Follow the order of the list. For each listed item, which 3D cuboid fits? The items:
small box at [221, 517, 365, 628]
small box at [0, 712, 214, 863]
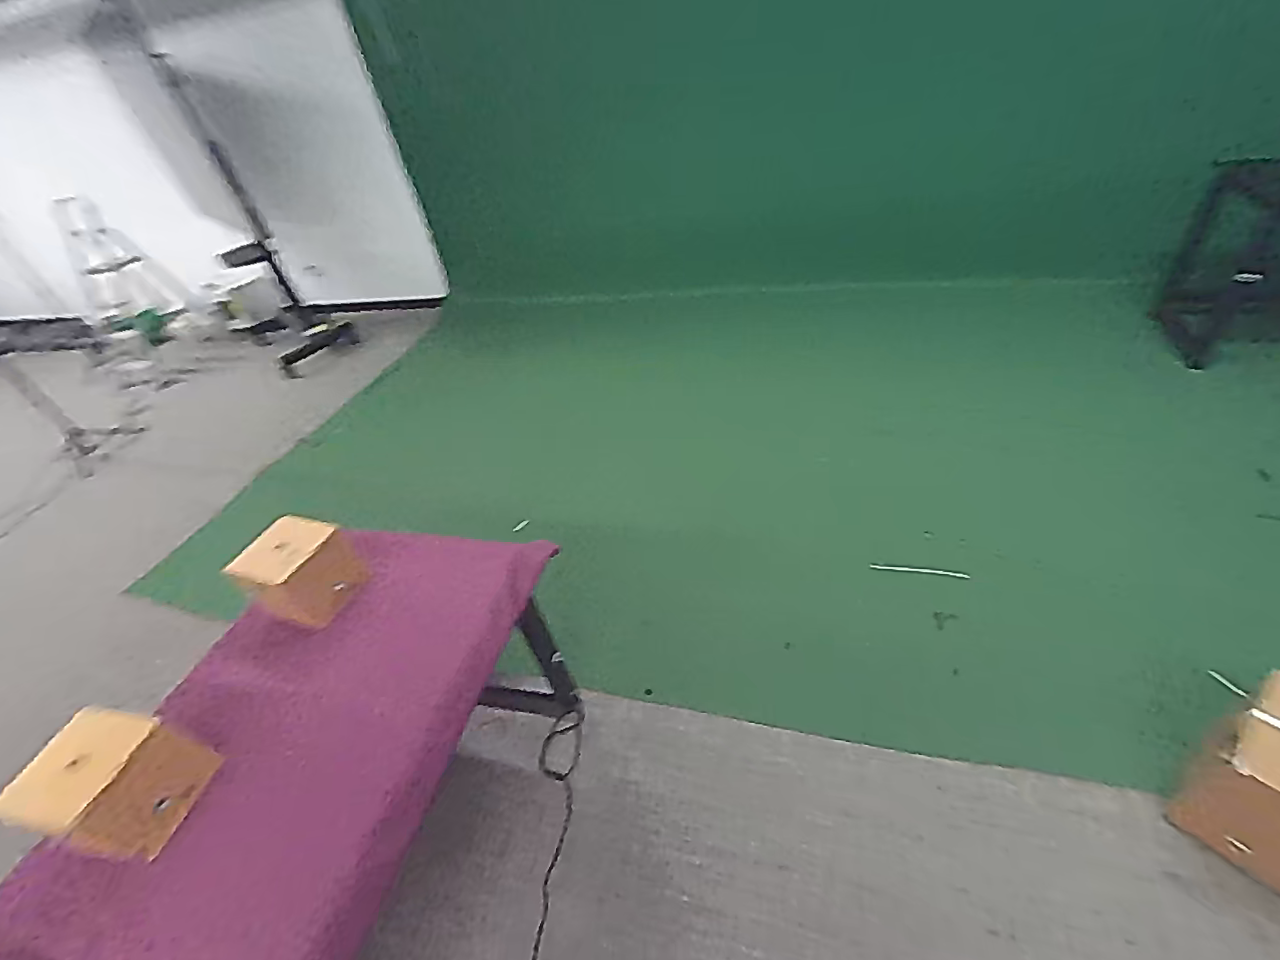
[{"bbox_3d":[-0.770,0.210,1.218,0.179,0.176,0.168,8,45,20],"label":"small box"},{"bbox_3d":[-0.883,0.512,0.902,0.179,0.176,0.168,1,42,12],"label":"small box"}]
